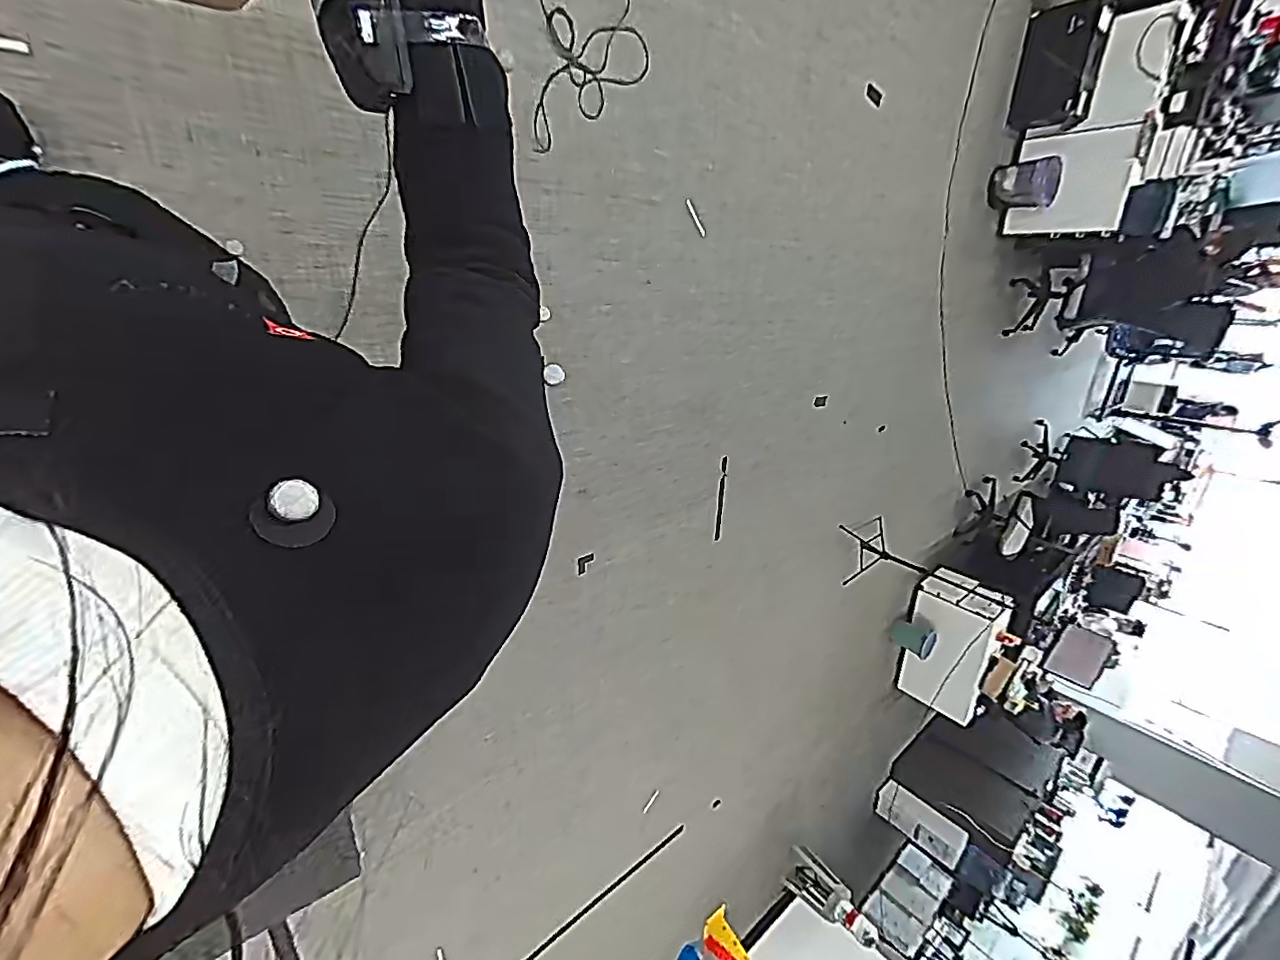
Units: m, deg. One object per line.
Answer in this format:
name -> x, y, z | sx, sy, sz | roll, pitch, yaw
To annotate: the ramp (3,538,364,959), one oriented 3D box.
ramp -> -1.010, 0.667, 1.285 | 0.509, 0.206, 0.991 | -15, 115, -36
